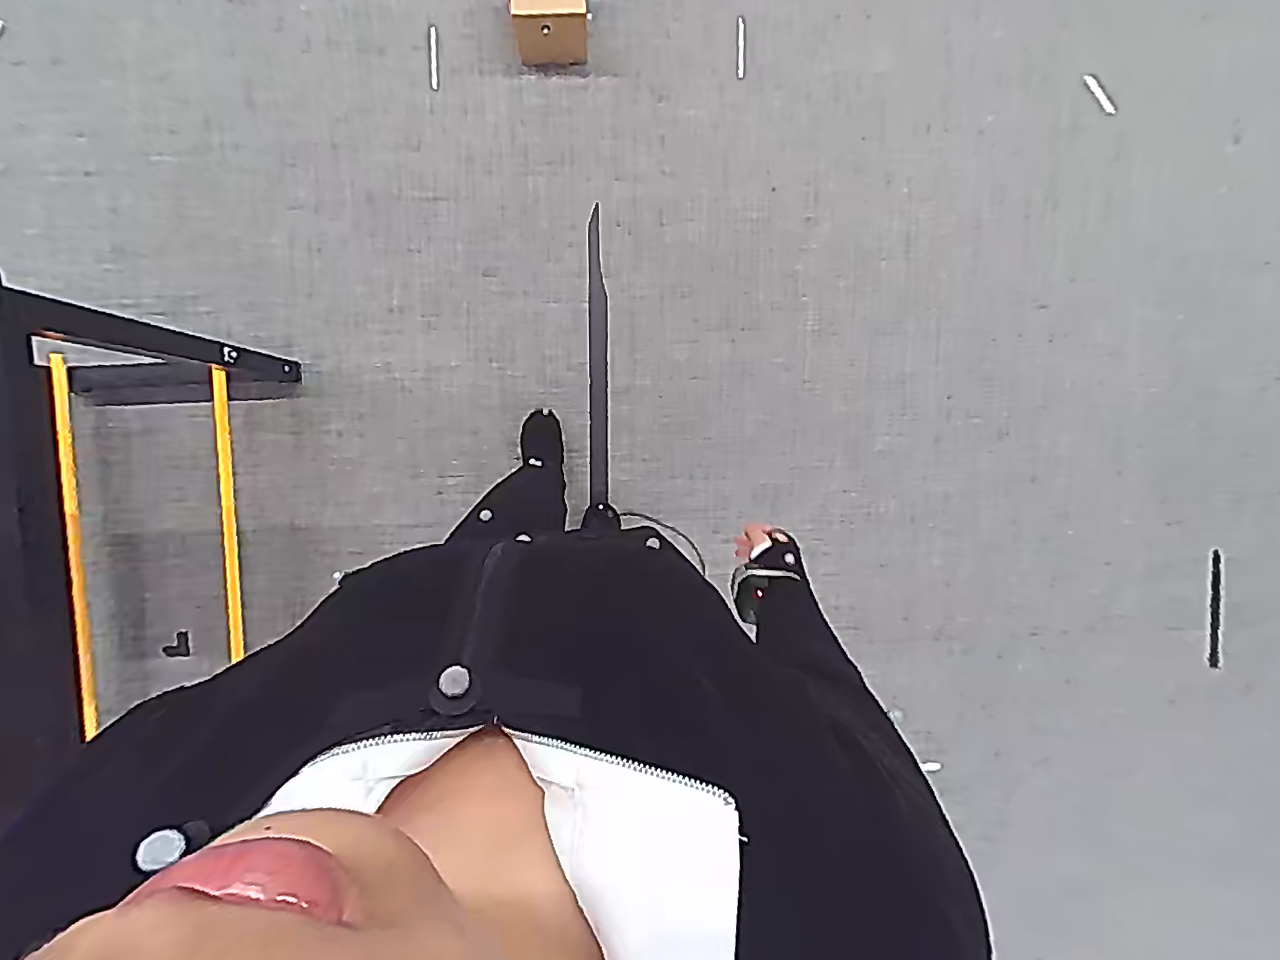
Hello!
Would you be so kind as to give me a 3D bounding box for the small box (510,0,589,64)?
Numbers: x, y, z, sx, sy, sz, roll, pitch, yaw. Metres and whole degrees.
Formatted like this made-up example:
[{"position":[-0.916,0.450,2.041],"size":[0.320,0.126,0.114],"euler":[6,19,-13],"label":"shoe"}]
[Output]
[{"position":[-0.218,-1.150,1.313],"size":[0.179,0.176,0.168],"euler":[-5,94,-4],"label":"small box"}]
